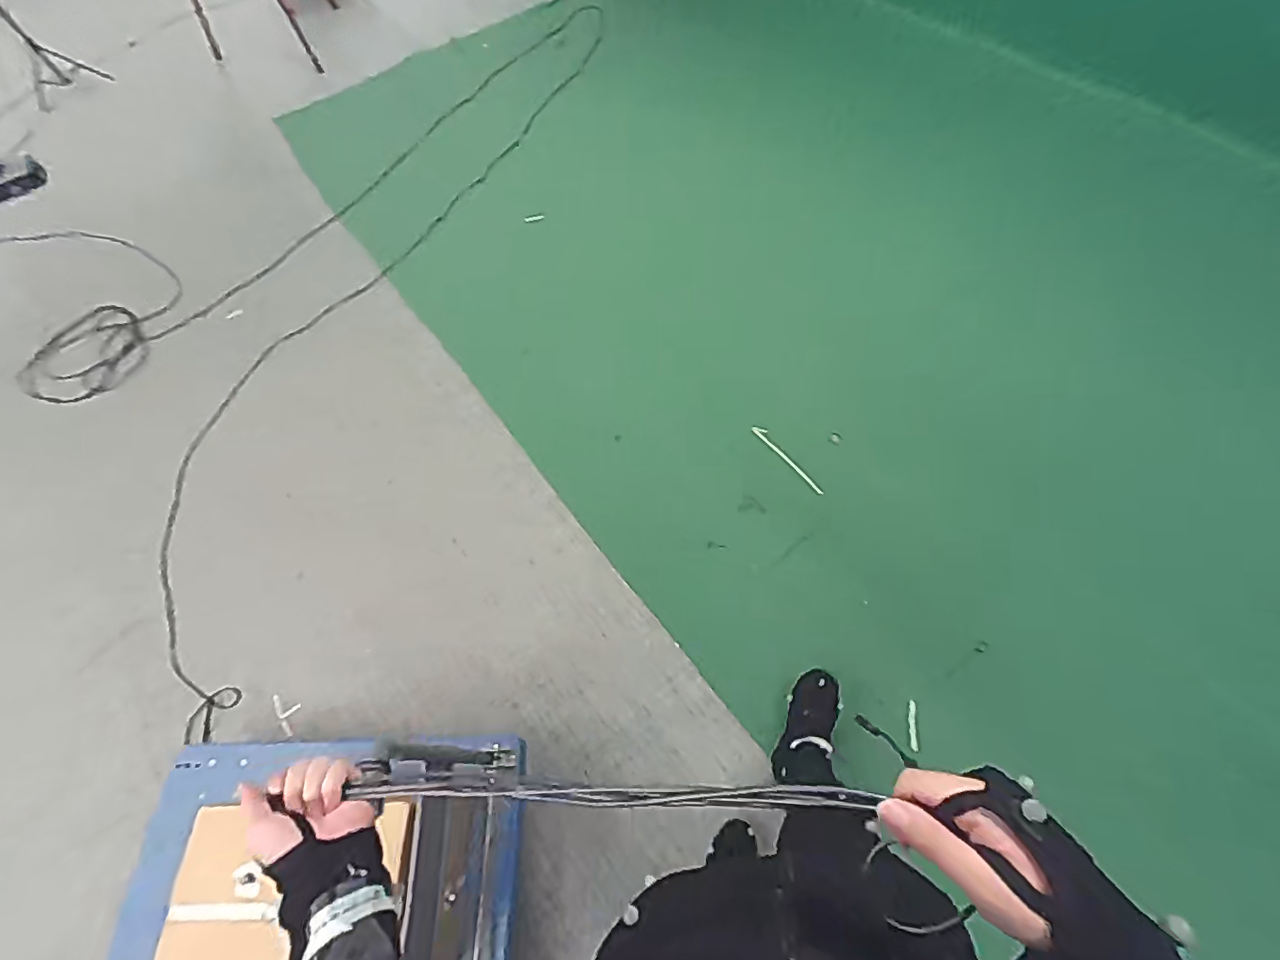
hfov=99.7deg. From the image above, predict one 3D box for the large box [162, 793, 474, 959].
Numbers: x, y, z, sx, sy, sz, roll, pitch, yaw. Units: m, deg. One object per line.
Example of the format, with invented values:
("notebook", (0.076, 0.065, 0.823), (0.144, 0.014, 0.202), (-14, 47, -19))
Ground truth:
("large box", (-0.576, 0.795, 1.038), (0.408, 0.320, 0.320), (-4, 61, 5))
